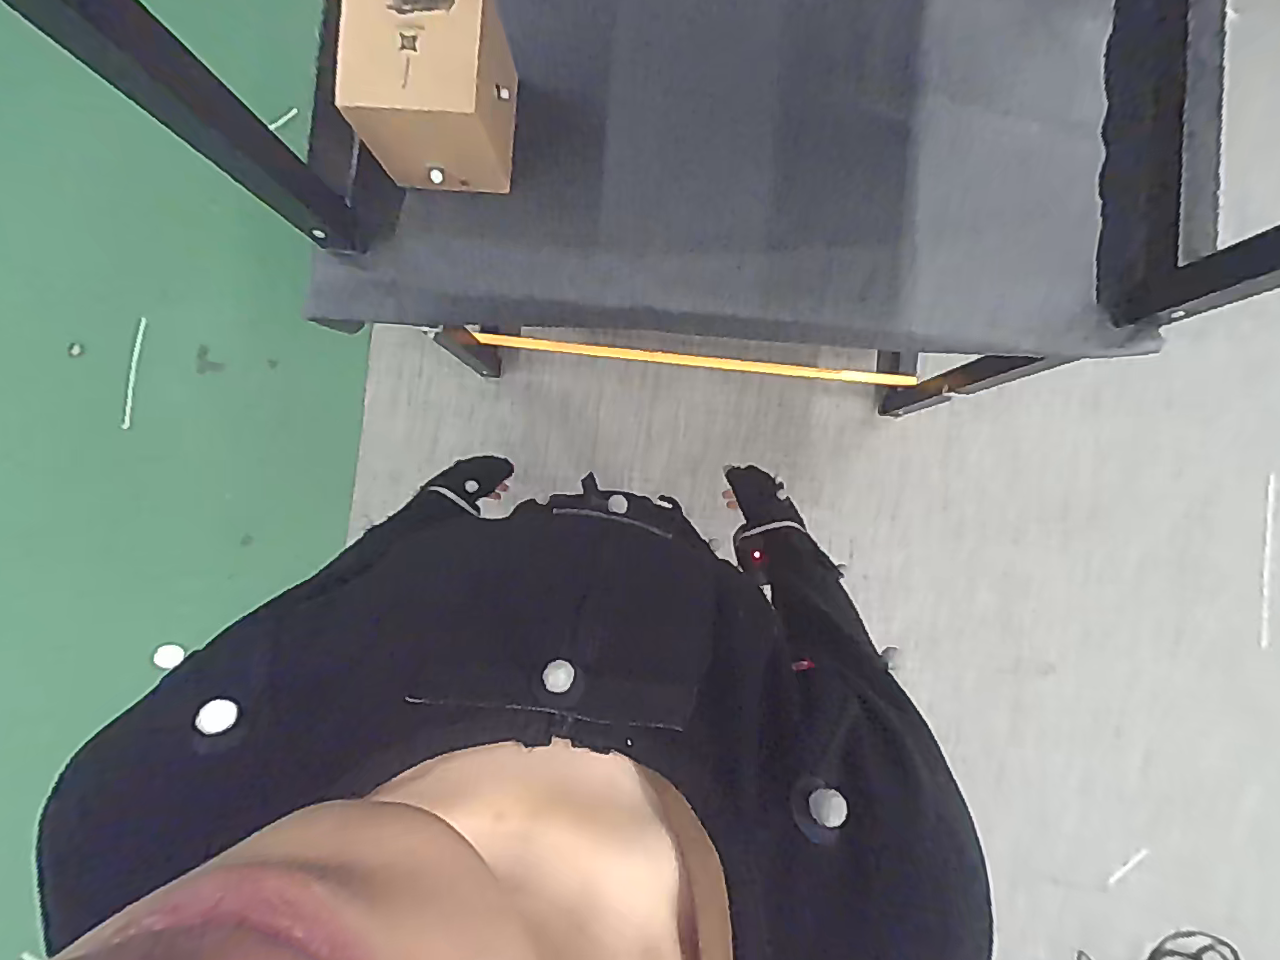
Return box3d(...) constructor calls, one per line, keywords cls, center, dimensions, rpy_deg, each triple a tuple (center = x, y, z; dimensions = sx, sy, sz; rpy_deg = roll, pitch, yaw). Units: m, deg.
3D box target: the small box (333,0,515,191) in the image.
box3d(cls="small box", center=(-0.263, -0.510, 0.699), dimensions=(0.168, 0.176, 0.179), rpy_deg=(3, 88, 0))
